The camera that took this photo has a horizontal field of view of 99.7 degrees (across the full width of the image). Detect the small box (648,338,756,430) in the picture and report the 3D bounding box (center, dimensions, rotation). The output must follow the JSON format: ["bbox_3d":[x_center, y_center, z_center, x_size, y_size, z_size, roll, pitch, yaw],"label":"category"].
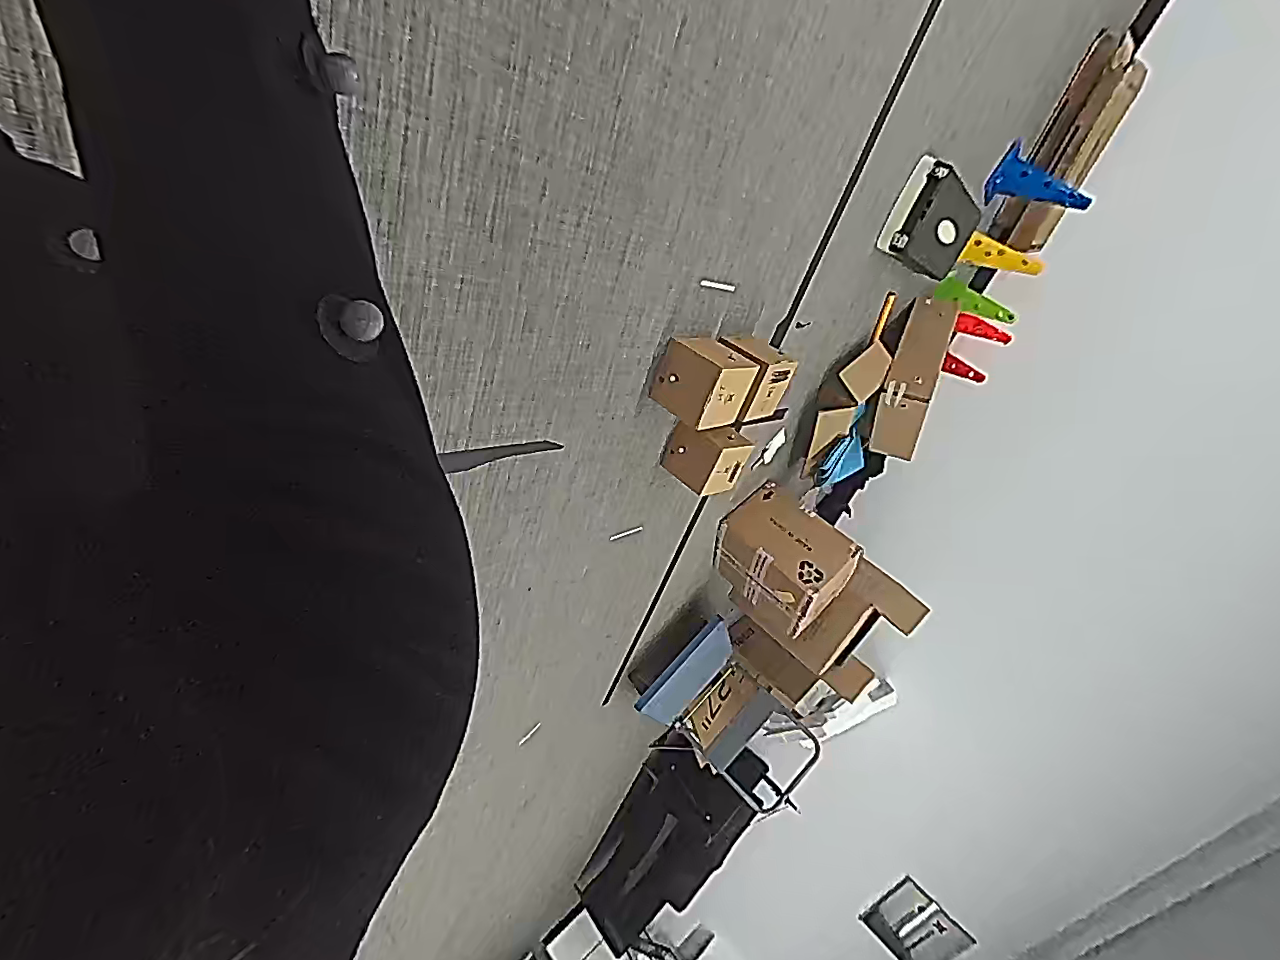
[{"bbox_3d":[0.153,-0.245,1.355,0.179,0.176,0.168,-15,135,-47],"label":"small box"}]

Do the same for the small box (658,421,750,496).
[{"bbox_3d":[0.188,-0.075,1.611,0.179,0.176,0.168,-11,133,-49],"label":"small box"}]
